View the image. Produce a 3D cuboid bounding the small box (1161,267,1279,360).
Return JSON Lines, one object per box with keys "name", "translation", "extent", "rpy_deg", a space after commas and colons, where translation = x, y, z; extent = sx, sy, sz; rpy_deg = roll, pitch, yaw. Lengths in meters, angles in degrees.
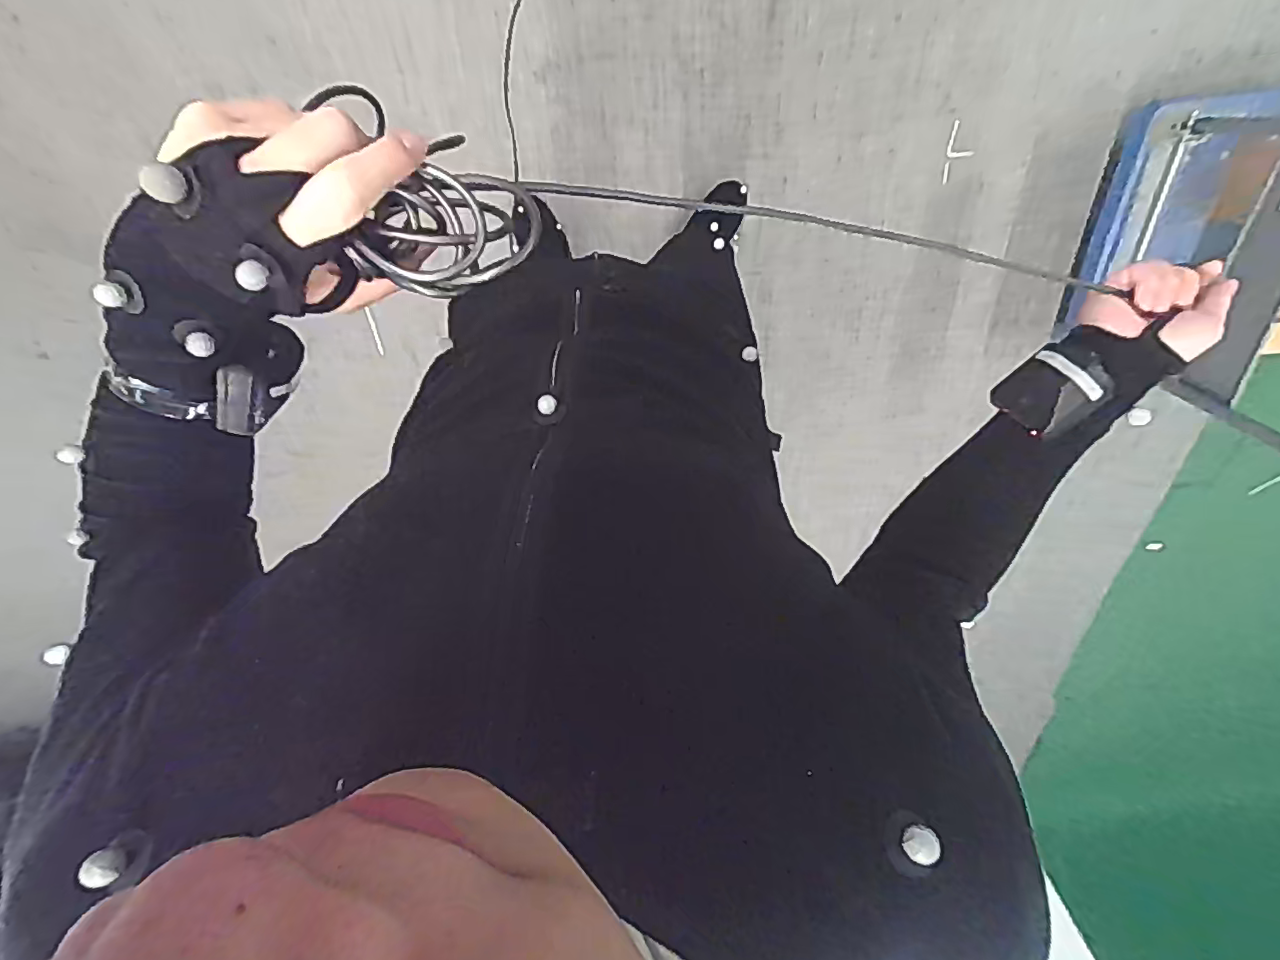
{"name": "small box", "translation": [1.399, -0.391, 1.259], "extent": [0.179, 0.176, 0.168], "rpy_deg": [-3, 123, 2]}
